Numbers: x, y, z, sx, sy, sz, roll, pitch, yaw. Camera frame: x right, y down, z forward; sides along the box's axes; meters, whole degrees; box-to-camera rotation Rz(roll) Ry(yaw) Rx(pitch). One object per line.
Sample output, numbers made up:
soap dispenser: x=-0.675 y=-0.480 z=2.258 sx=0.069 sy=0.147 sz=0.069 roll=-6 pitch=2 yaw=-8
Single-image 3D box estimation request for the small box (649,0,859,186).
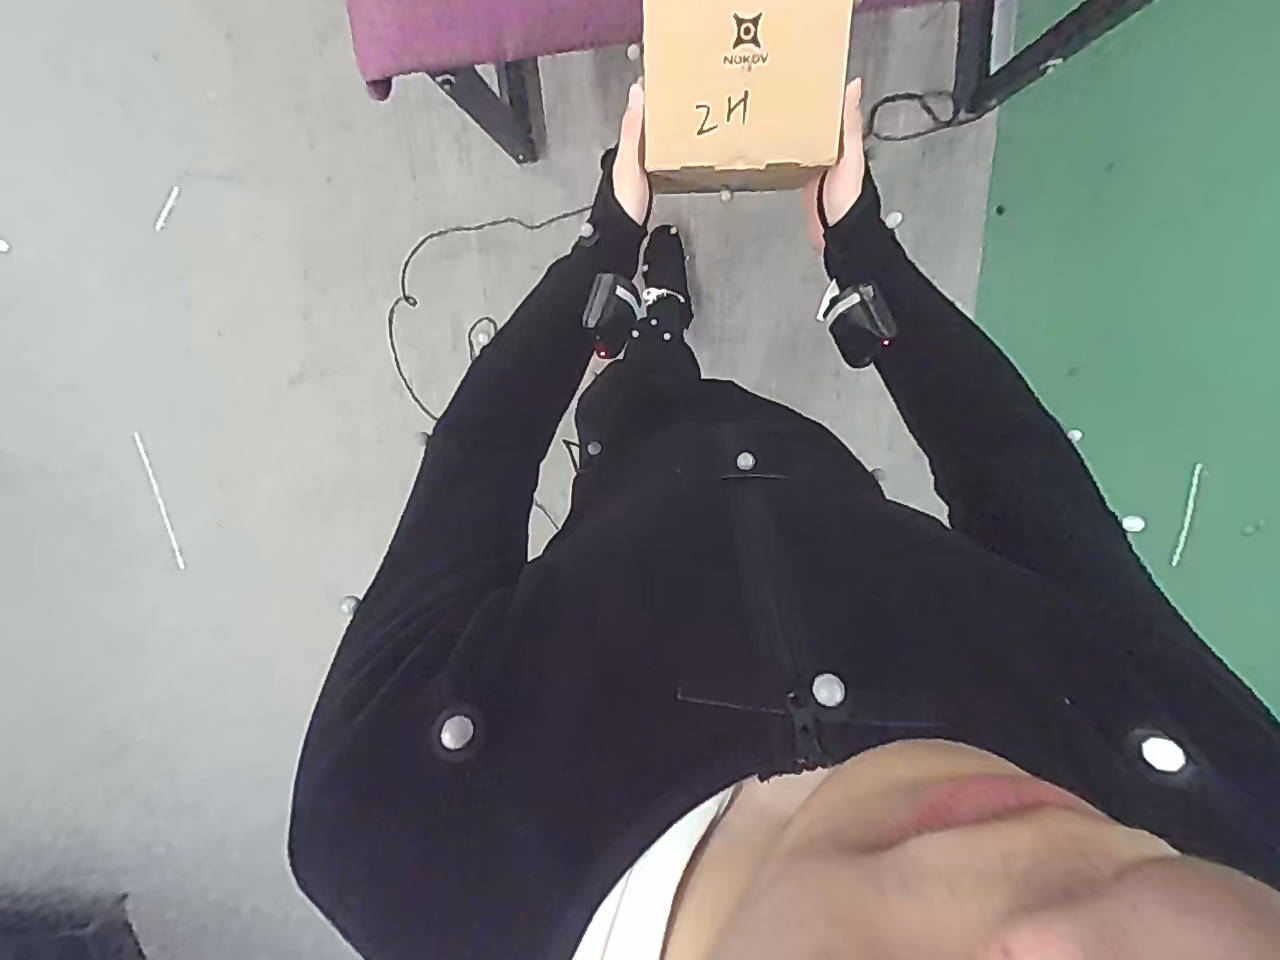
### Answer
small box: x=0.092 y=-0.385 z=0.502 sx=0.168 sy=0.176 sz=0.179 roll=0 pitch=111 yaw=4
